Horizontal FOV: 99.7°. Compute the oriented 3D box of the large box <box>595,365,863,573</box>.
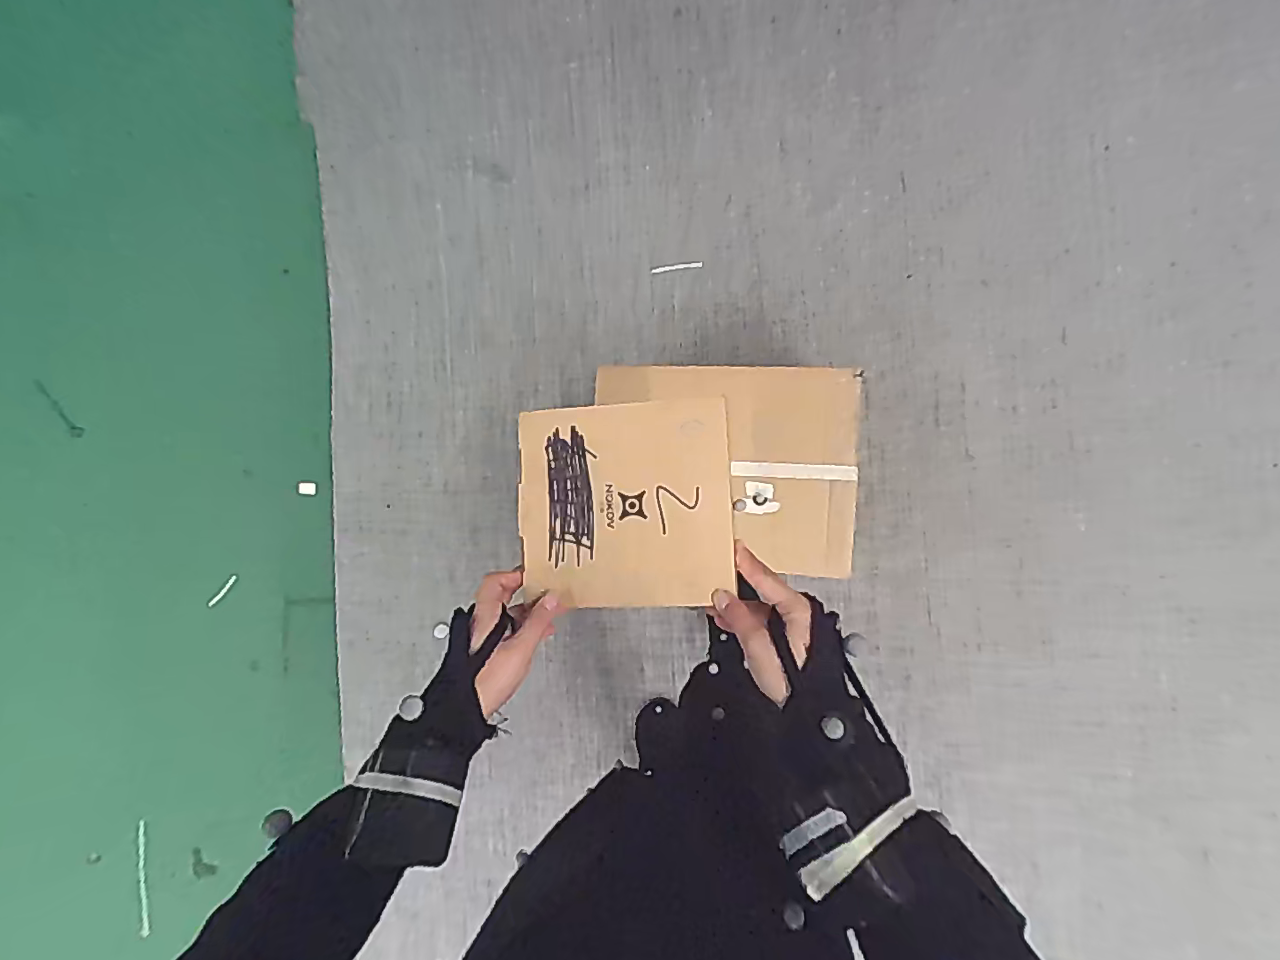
[{"bbox_3d":[0.154,-0.021,0.975,0.408,0.320,0.320,3,91,11],"label":"large box"}]
